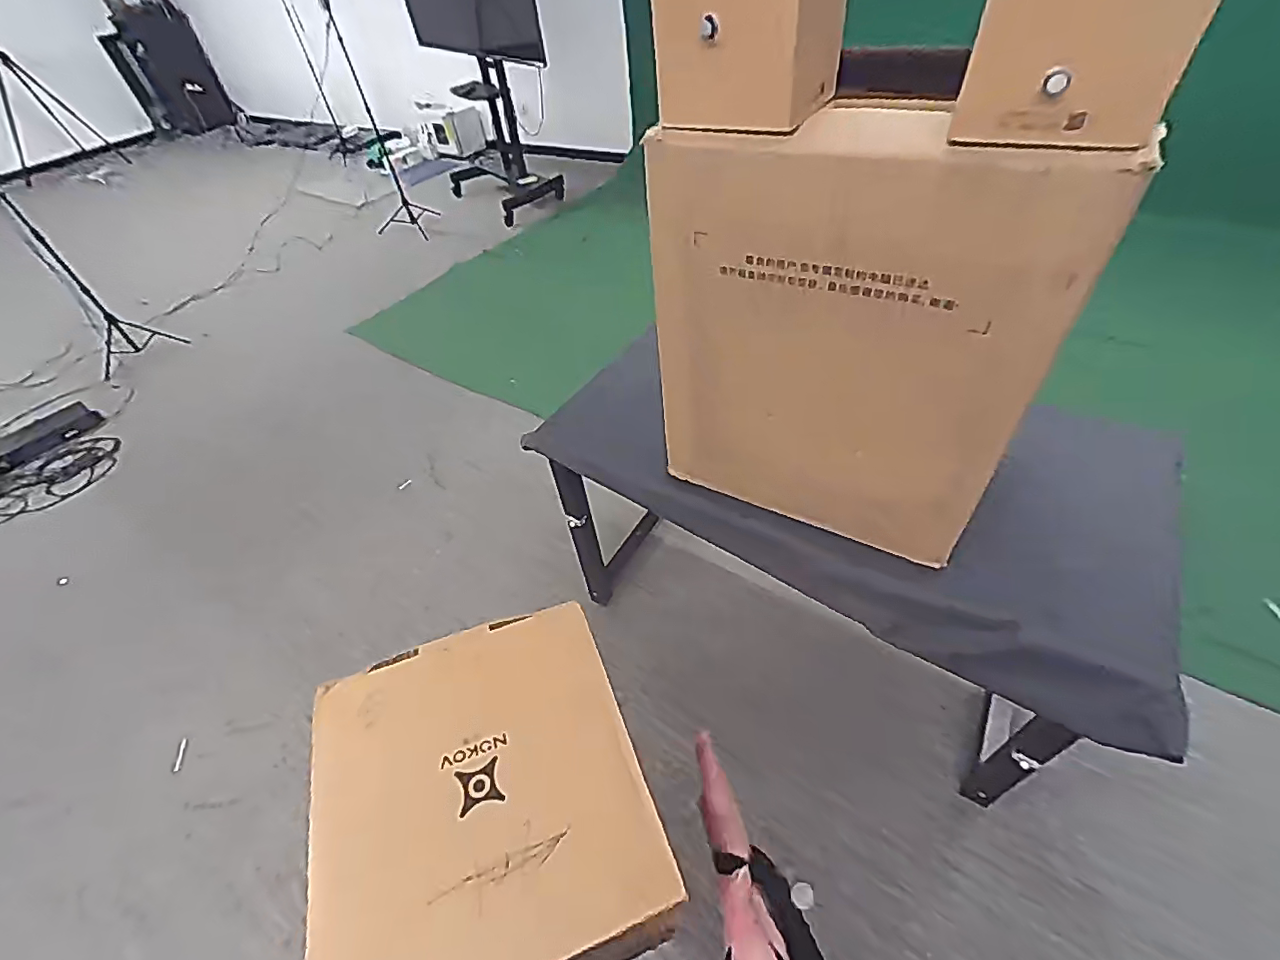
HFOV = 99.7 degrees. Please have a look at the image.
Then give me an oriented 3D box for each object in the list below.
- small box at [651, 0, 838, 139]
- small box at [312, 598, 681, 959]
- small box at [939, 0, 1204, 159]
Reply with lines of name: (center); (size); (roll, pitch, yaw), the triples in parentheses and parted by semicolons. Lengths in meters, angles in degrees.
small box: (0.126, -0.531, 0.655); (0.179, 0.176, 0.168); (19, 53, 26)
small box: (-0.086, 0.212, 0.349); (0.168, 0.176, 0.179); (-16, 47, -14)
small box: (0.409, -0.435, 0.524); (0.168, 0.176, 0.179); (16, 51, 21)
